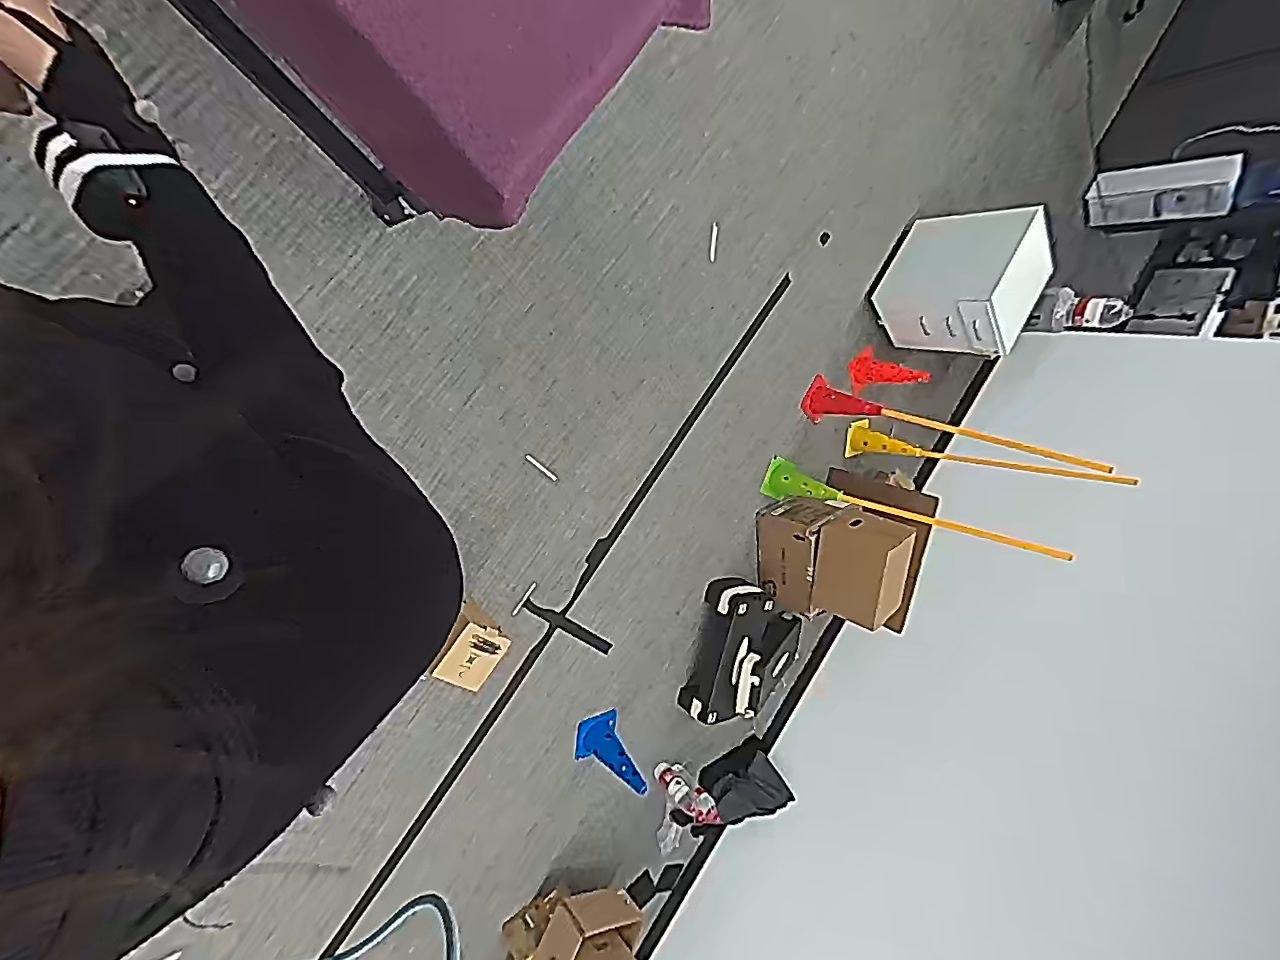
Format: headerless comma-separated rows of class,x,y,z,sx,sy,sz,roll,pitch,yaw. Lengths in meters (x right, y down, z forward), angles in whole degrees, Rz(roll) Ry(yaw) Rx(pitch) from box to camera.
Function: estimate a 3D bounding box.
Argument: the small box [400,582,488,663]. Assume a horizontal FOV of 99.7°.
small box,-0.620,0.441,1.700,0.179,0.176,0.168,38,80,-40
